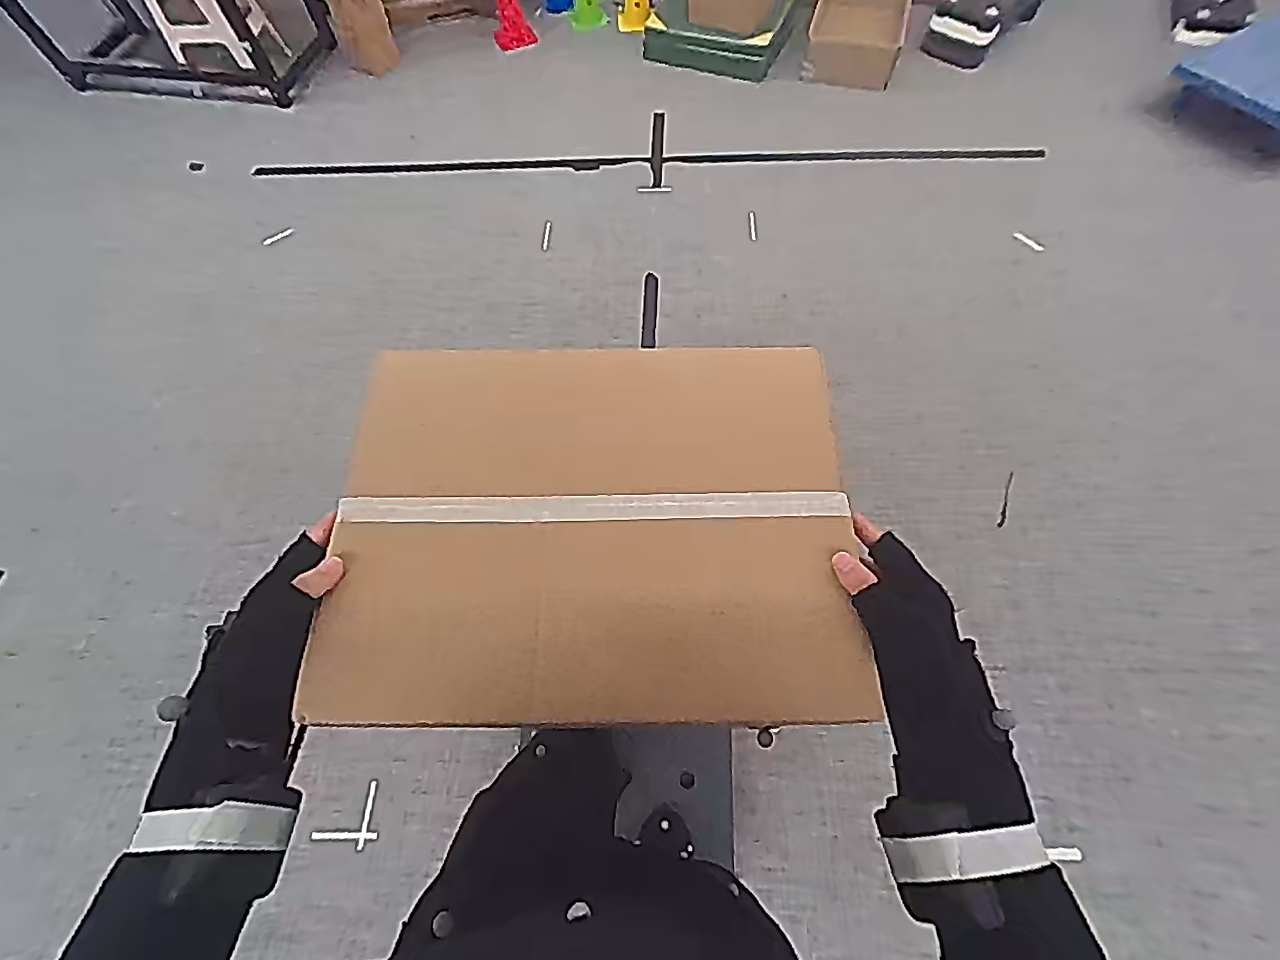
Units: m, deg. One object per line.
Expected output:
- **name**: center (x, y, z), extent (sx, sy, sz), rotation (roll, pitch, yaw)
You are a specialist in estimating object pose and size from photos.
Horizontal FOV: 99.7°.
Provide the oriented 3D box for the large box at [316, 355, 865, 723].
- **large box**: center (-0.035, 0.086, 0.582), extent (0.408, 0.320, 0.320), rotation (-1, 65, 1)
